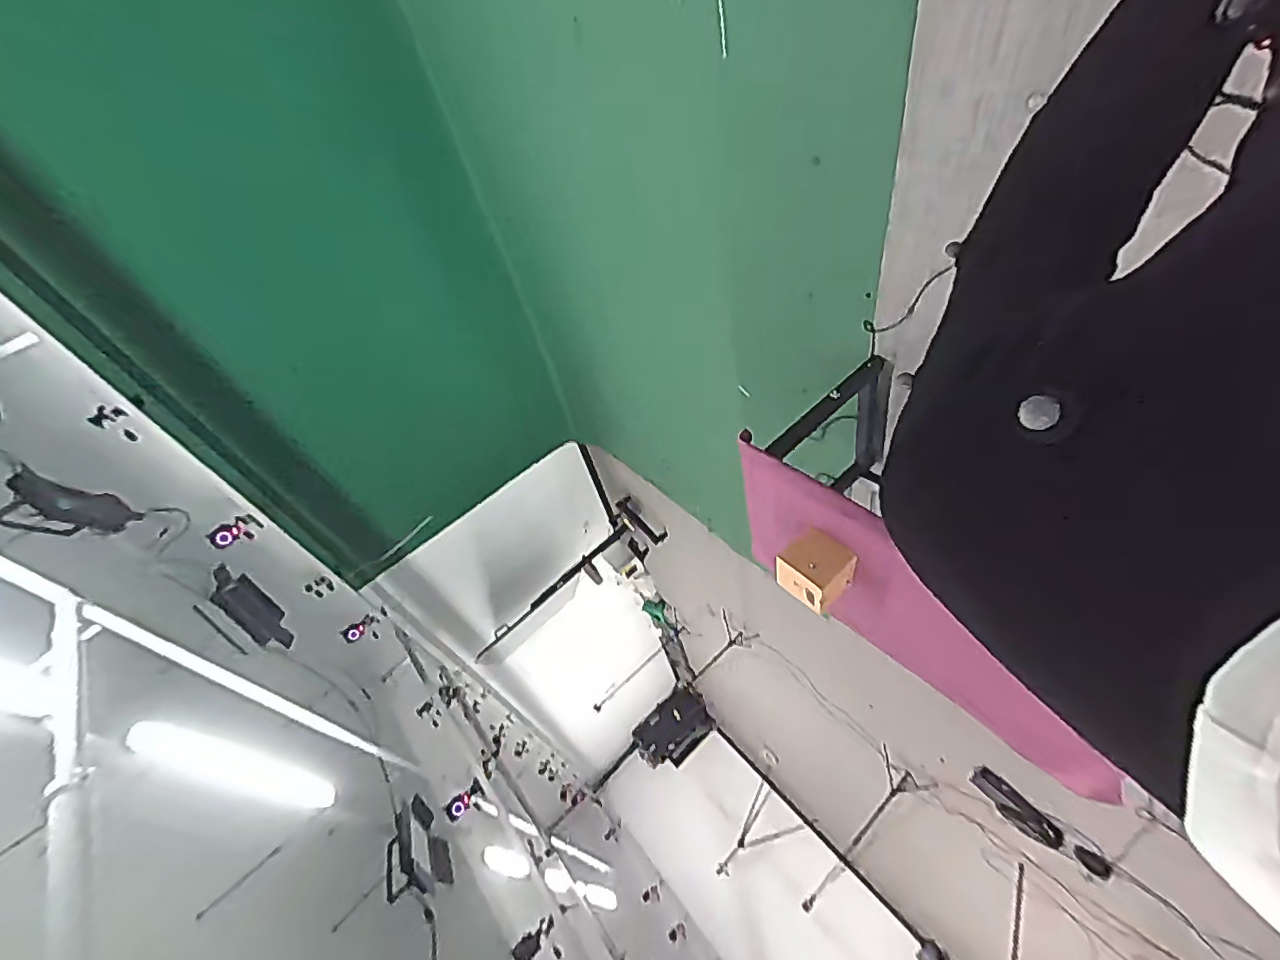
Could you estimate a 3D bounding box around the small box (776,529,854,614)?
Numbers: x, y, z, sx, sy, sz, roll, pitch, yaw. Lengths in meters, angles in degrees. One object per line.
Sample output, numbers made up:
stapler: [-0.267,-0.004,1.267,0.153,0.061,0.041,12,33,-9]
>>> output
small box: [0.558,0.288,1.730,0.179,0.176,0.168,38,157,36]
